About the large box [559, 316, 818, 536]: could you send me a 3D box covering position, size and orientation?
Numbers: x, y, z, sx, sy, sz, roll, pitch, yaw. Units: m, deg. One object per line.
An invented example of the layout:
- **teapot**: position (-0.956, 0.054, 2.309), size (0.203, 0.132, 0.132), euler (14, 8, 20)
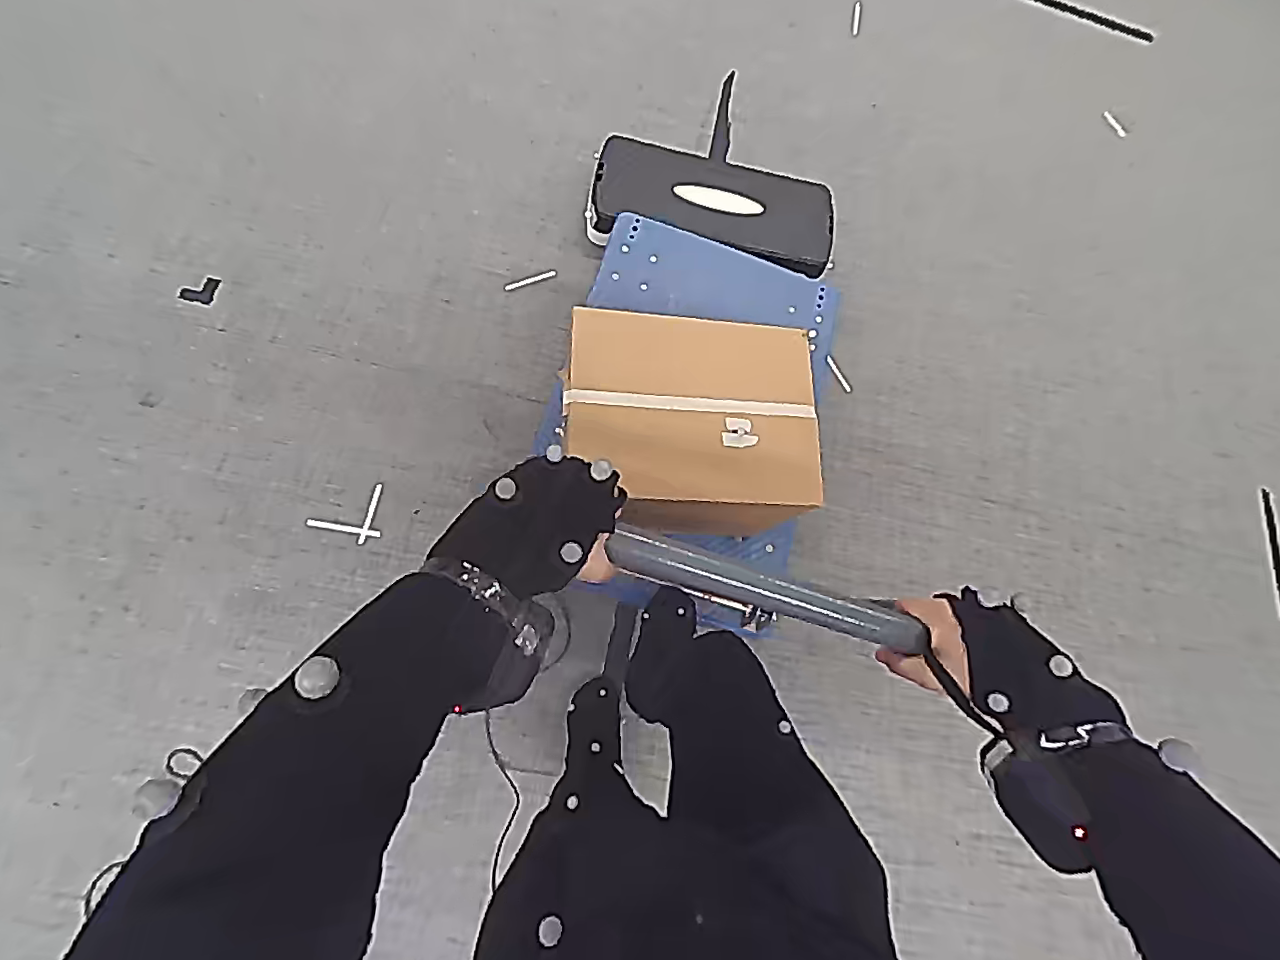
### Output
- **large box**: position (0.059, -0.073, 1.005), size (0.408, 0.320, 0.320), euler (3, 75, -11)
